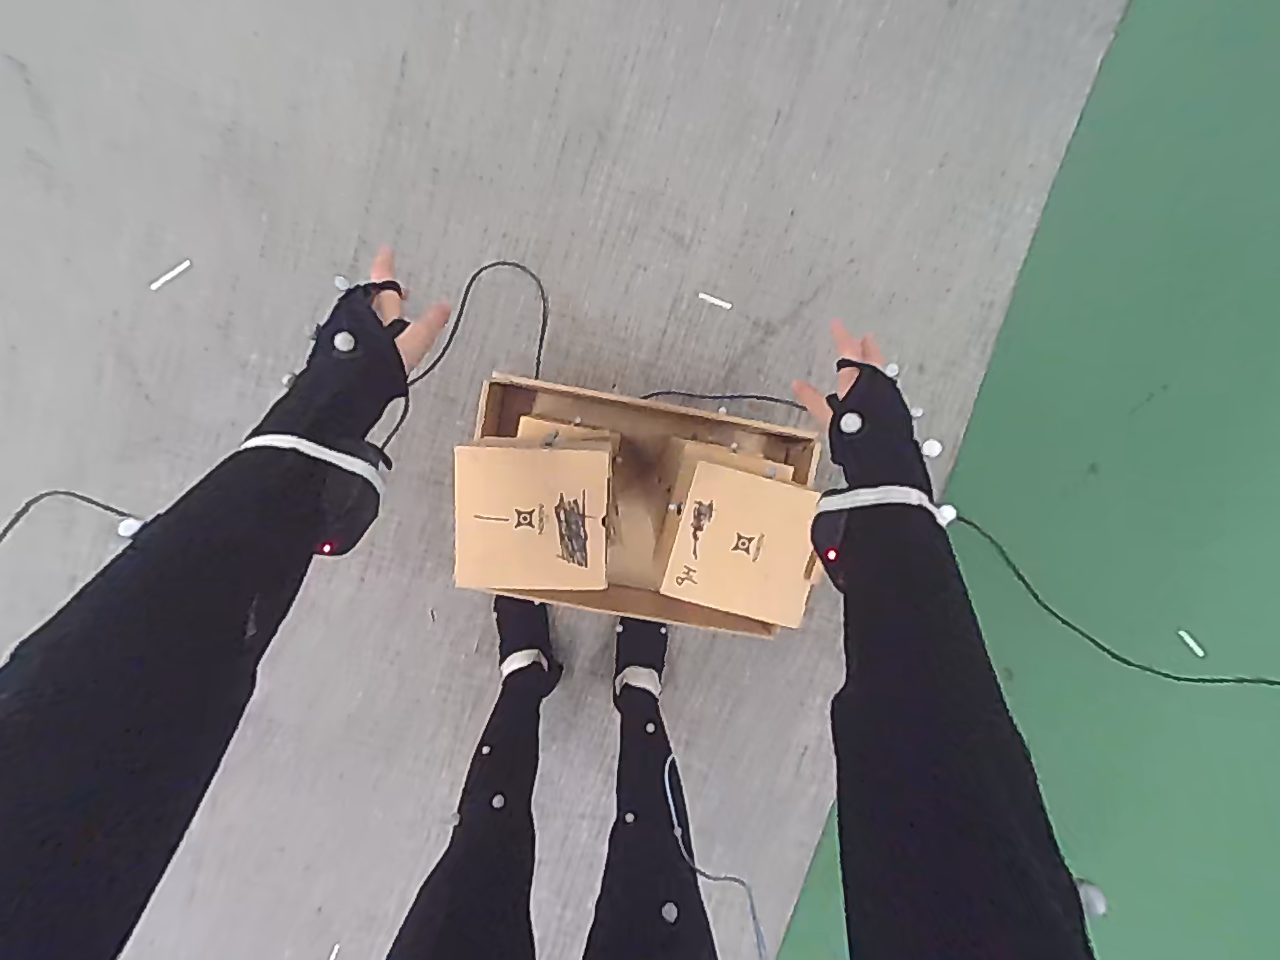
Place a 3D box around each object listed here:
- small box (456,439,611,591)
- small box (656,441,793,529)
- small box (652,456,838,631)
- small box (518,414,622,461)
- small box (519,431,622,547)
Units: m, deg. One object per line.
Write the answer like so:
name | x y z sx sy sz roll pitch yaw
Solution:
small box | -0.128 0.035 0.698 0.179 0.176 0.168 2 98 -3
small box | 0.123 0.038 0.870 0.168 0.176 0.179 13 97 -2
small box | 0.123 0.071 0.707 0.179 0.176 0.168 16 96 -4
small box | -0.138 -0.026 1.019 0.179 0.176 0.168 11 97 -6
small box | -0.124 0.013 0.861 0.179 0.176 0.168 -5 98 -2
